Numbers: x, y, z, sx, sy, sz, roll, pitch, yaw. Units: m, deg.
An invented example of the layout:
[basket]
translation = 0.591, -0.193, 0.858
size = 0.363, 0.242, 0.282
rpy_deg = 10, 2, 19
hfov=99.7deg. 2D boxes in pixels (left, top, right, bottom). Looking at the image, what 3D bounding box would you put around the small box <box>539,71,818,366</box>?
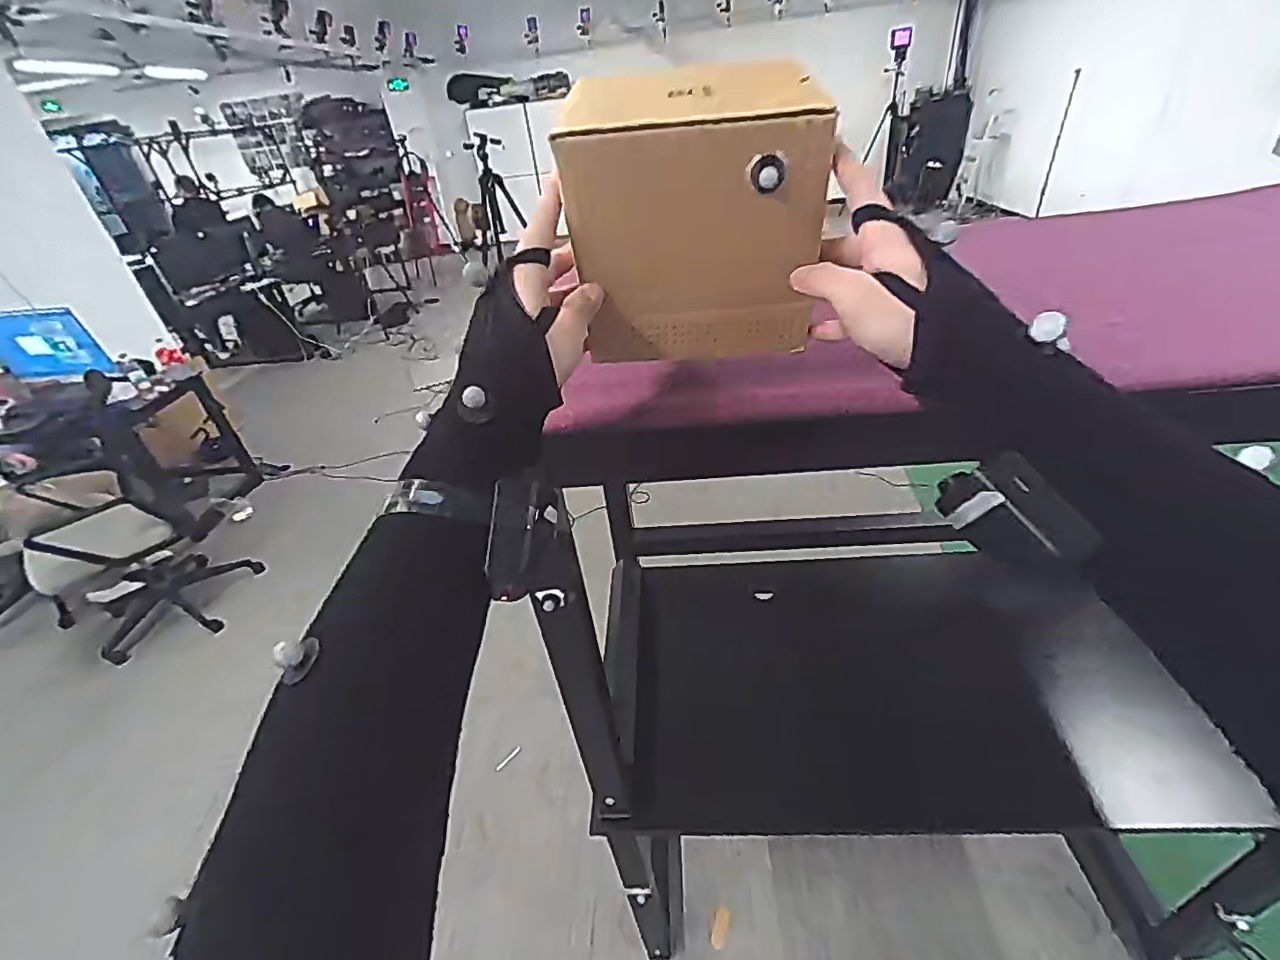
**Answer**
[small box]
translation = 0.035, -0.207, 0.441
size = 0.179, 0.176, 0.168
rpy_deg = -2, 46, 6
